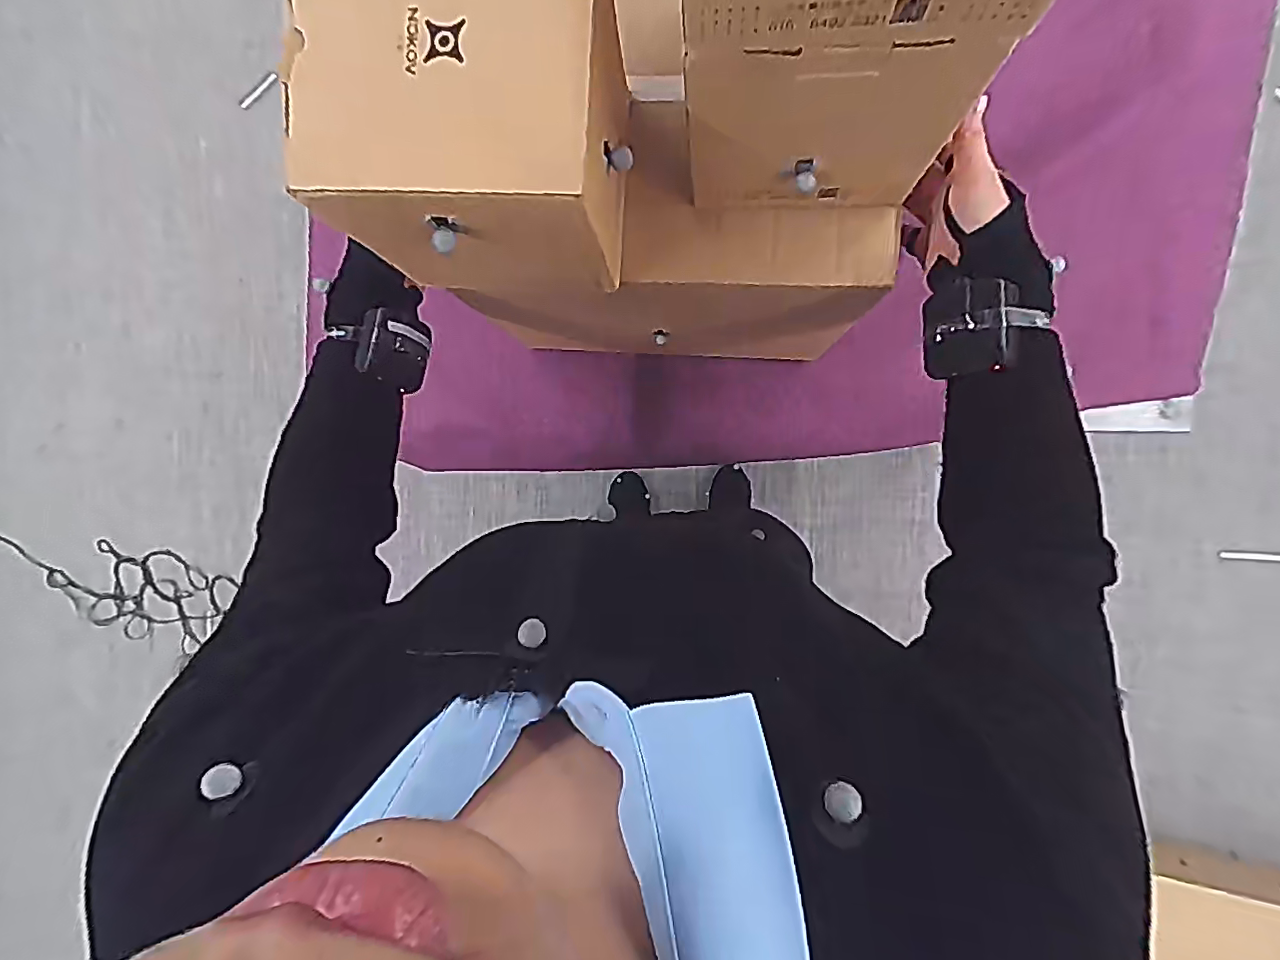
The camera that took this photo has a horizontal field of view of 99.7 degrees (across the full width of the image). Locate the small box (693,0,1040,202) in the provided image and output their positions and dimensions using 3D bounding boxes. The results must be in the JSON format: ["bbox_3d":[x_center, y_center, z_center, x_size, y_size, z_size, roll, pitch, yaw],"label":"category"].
[{"bbox_3d":[0.121,-0.305,0.342,0.168,0.176,0.179,3,92,7],"label":"small box"}]

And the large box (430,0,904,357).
[{"bbox_3d":[0.034,-0.318,0.598,0.408,0.320,0.320,3,90,7],"label":"large box"}]
